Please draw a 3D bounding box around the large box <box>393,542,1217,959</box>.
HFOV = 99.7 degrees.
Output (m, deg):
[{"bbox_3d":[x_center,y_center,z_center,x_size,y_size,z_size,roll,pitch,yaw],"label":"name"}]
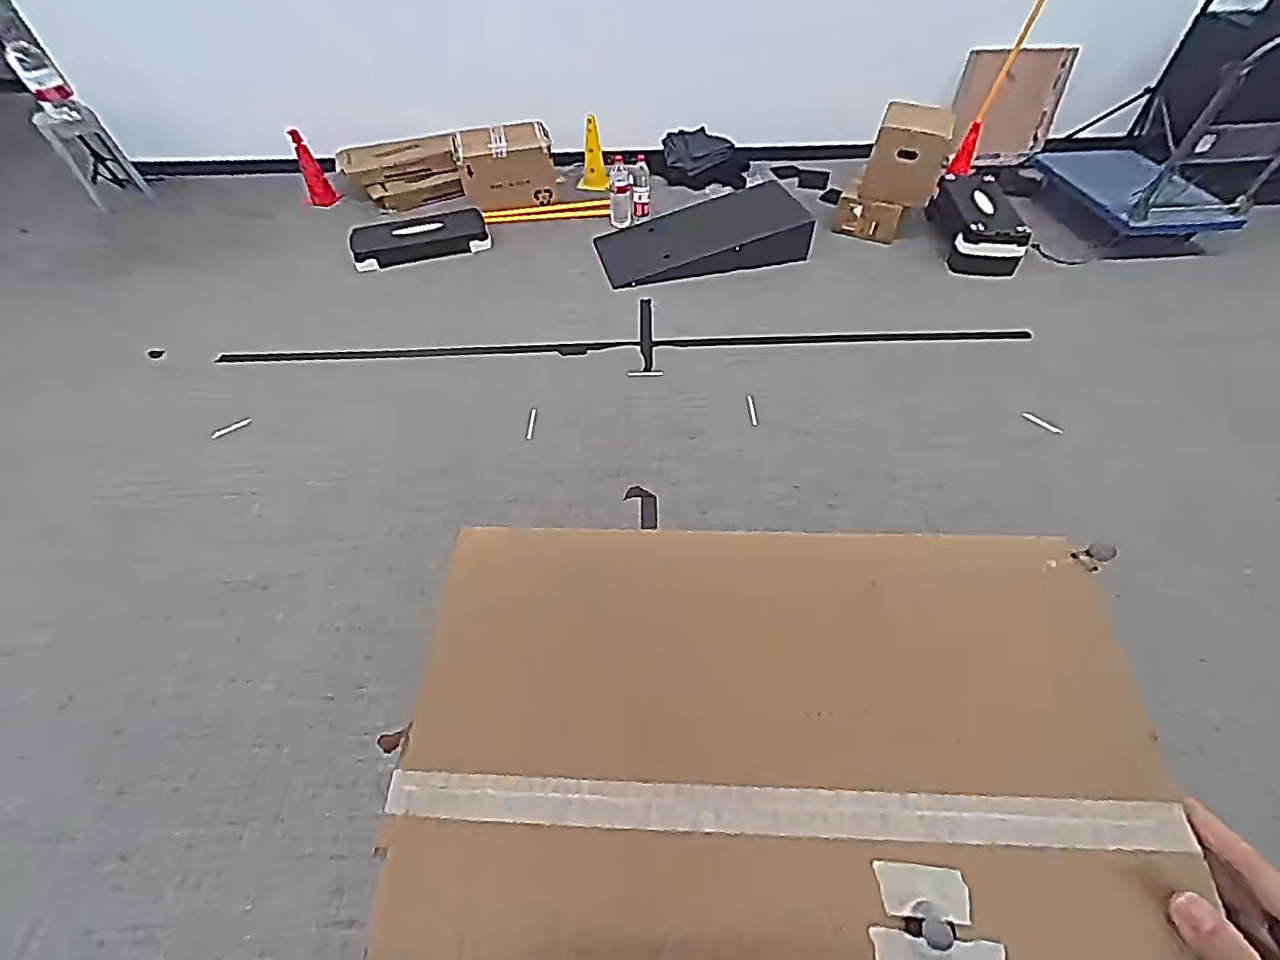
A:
[{"bbox_3d":[0.081,0.249,0.423,0.408,0.320,0.320,0,62,3],"label":"large box"}]
